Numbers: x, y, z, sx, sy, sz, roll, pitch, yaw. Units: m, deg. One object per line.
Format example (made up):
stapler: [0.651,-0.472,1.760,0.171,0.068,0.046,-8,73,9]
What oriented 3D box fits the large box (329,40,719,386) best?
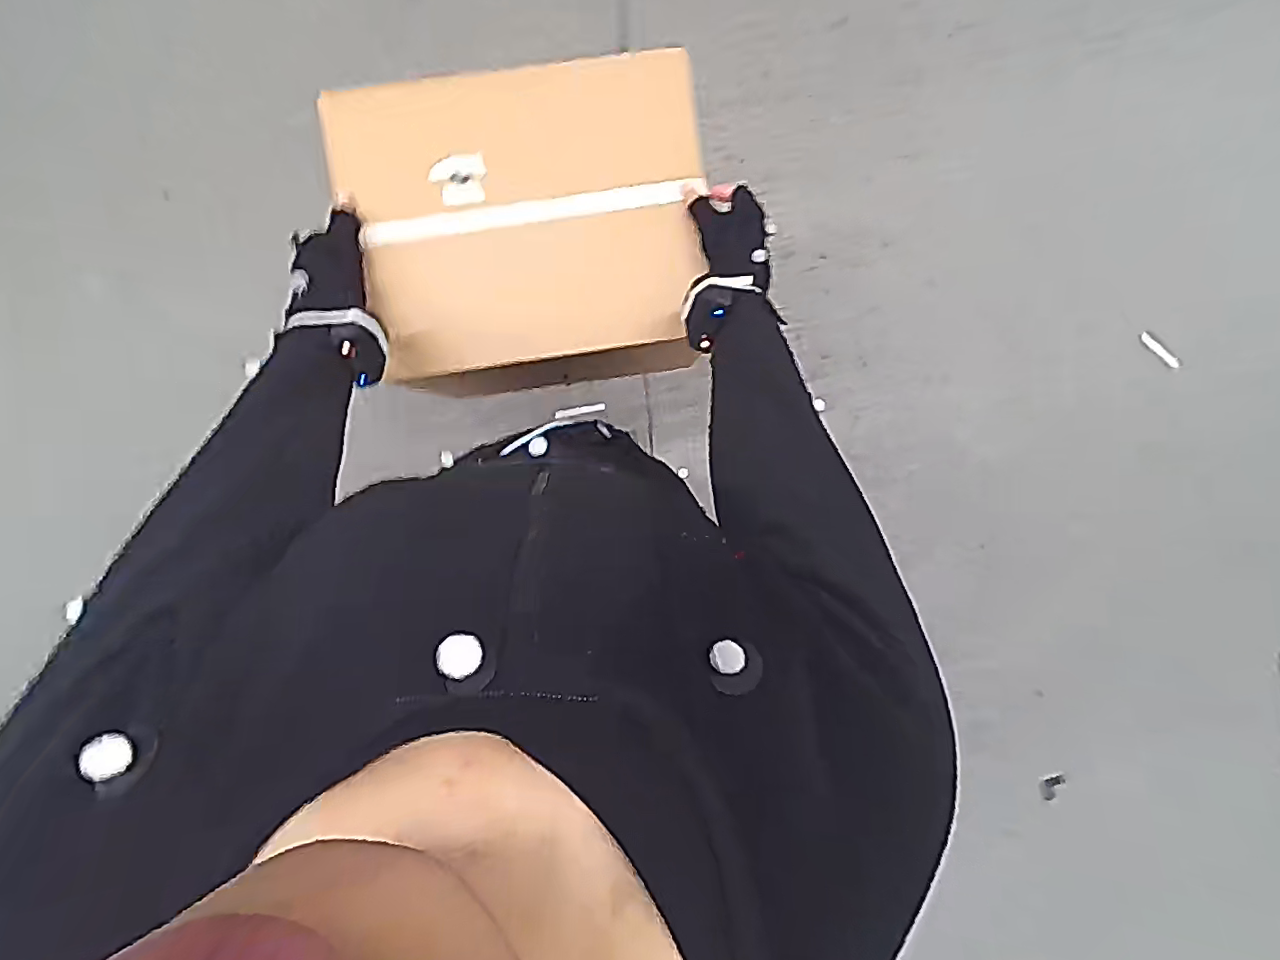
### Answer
large box: [-0.127,-0.319,0.752,0.408,0.320,0.320,-8,94,-1]
